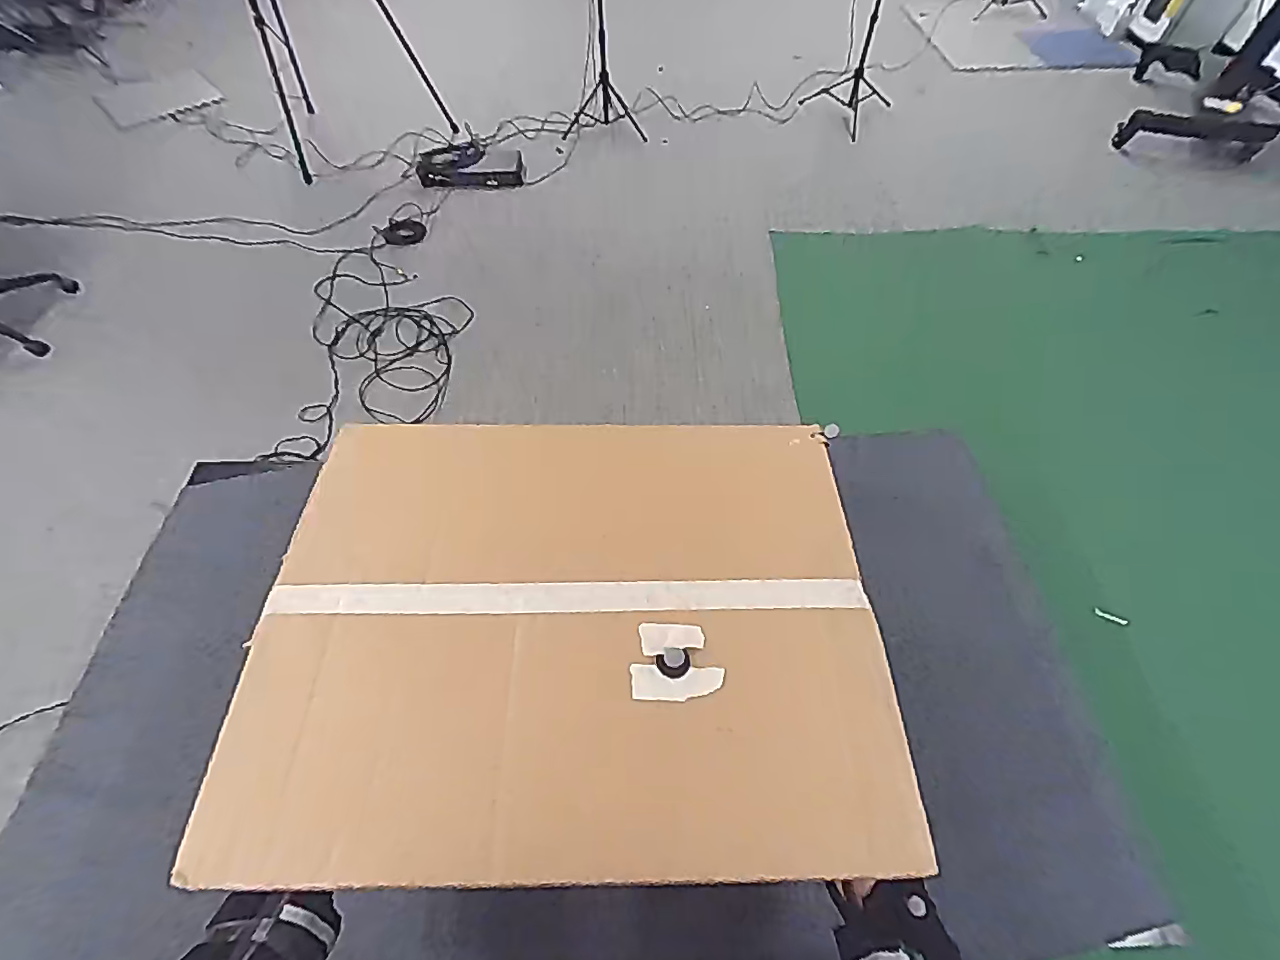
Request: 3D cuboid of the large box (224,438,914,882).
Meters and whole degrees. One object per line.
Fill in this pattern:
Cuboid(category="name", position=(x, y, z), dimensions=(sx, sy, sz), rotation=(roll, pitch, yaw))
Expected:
Cuboid(category="large box", position=(-0.045, 0.175, 0.513), dimensions=(0.408, 0.320, 0.320), rotation=(0, 56, -2))
